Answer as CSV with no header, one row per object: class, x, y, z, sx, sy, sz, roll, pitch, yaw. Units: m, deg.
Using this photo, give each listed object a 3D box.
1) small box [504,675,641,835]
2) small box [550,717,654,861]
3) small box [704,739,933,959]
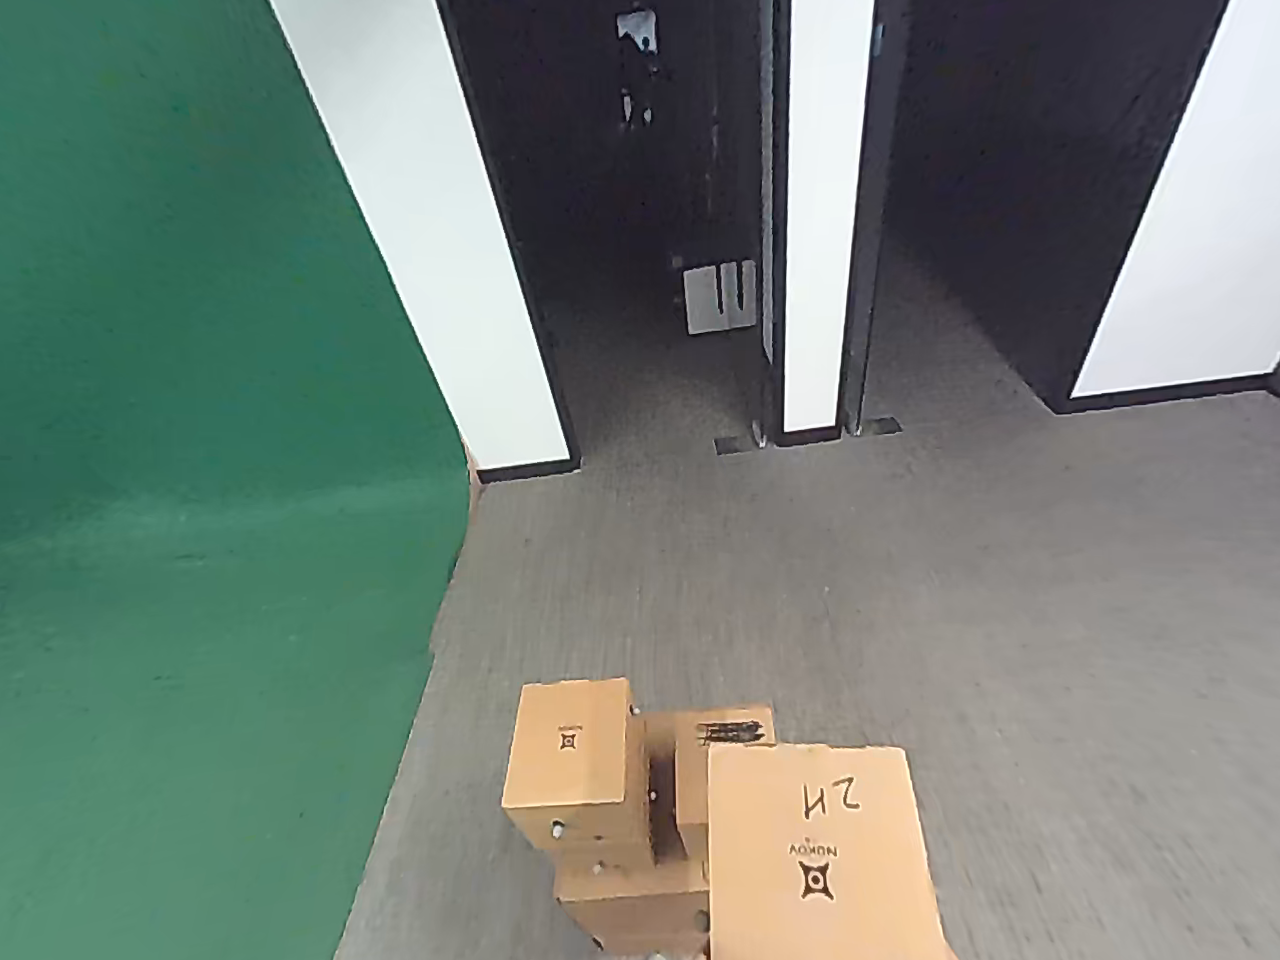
small box,-0.090,0.423,0.825,0.168,0.176,0.179,-6,41,5
small box,-0.066,0.537,0.939,0.168,0.176,0.179,-5,42,6
small box,0.149,0.349,0.491,0.168,0.176,0.179,-4,54,11
